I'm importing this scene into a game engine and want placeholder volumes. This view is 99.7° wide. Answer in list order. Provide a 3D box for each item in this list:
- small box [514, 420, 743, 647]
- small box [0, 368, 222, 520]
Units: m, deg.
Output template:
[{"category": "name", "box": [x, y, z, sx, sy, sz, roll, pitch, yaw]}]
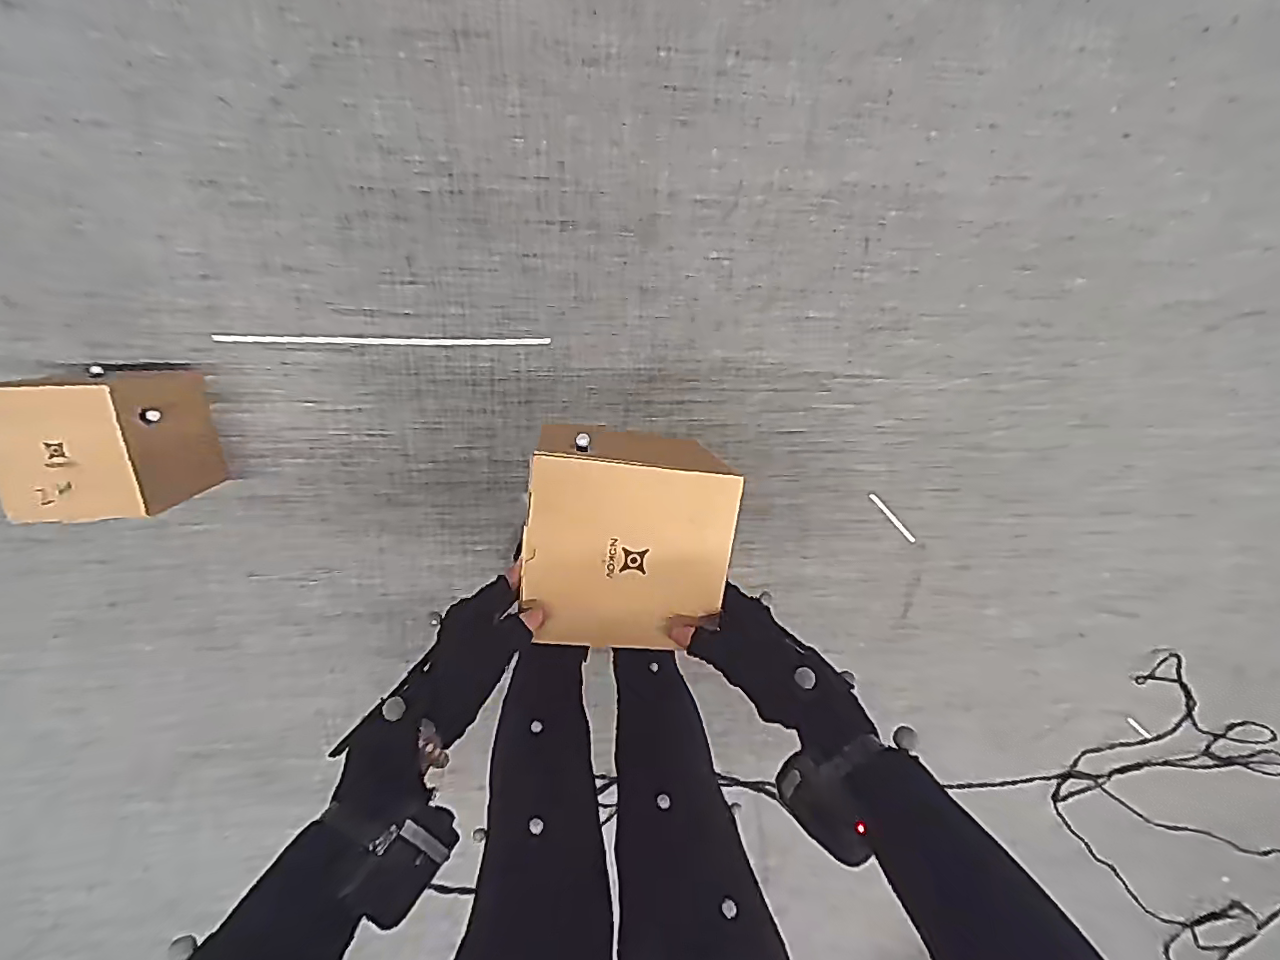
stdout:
[{"category": "small box", "box": [-0.020, 0.041, 0.525, 0.179, 0.176, 0.168, 5, 105, -7]}, {"category": "small box", "box": [-0.721, -0.058, 0.735, 0.168, 0.176, 0.179, -2, 109, -5]}]
